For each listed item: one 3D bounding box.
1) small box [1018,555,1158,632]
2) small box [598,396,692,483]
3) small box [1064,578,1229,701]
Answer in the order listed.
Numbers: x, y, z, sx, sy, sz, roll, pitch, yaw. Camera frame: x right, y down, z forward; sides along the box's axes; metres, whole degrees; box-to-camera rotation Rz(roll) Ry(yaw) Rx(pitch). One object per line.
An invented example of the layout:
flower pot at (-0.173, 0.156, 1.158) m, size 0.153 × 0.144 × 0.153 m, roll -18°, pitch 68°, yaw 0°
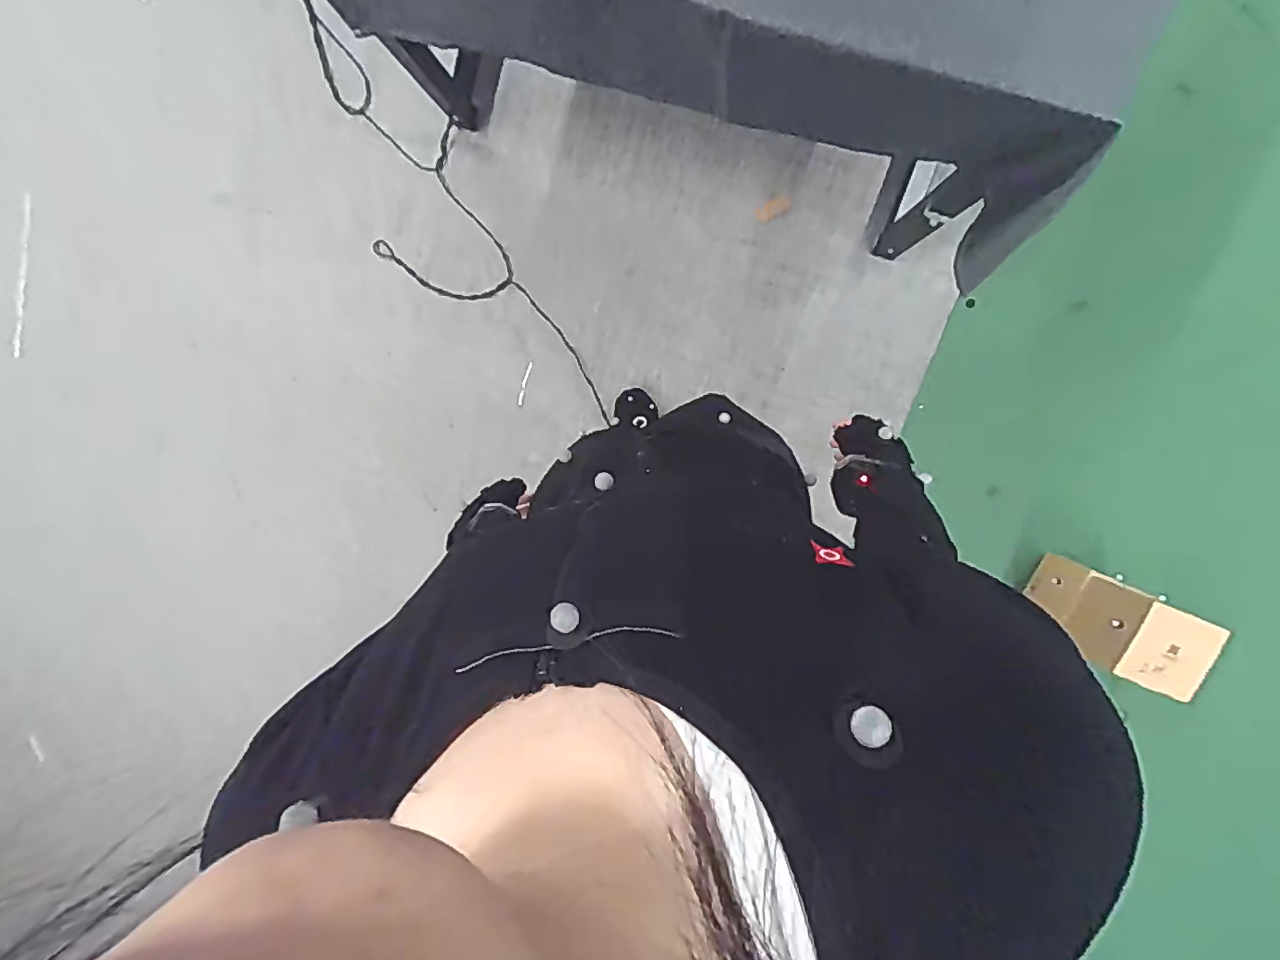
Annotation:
small box at (1.101, 0.303, 1.347) m, size 0.179 × 0.176 × 0.168 m, roll 23°, pitch 100°, yaw 1°
small box at (0.008, -0.111, 1.410) m, size 0.179 × 0.176 × 0.168 m, roll 27°, pitch 111°, yaw 18°
small box at (1.093, 0.339, 1.186) m, size 0.168 × 0.176 × 0.179 m, roll 23°, pitch 100°, yaw 2°
